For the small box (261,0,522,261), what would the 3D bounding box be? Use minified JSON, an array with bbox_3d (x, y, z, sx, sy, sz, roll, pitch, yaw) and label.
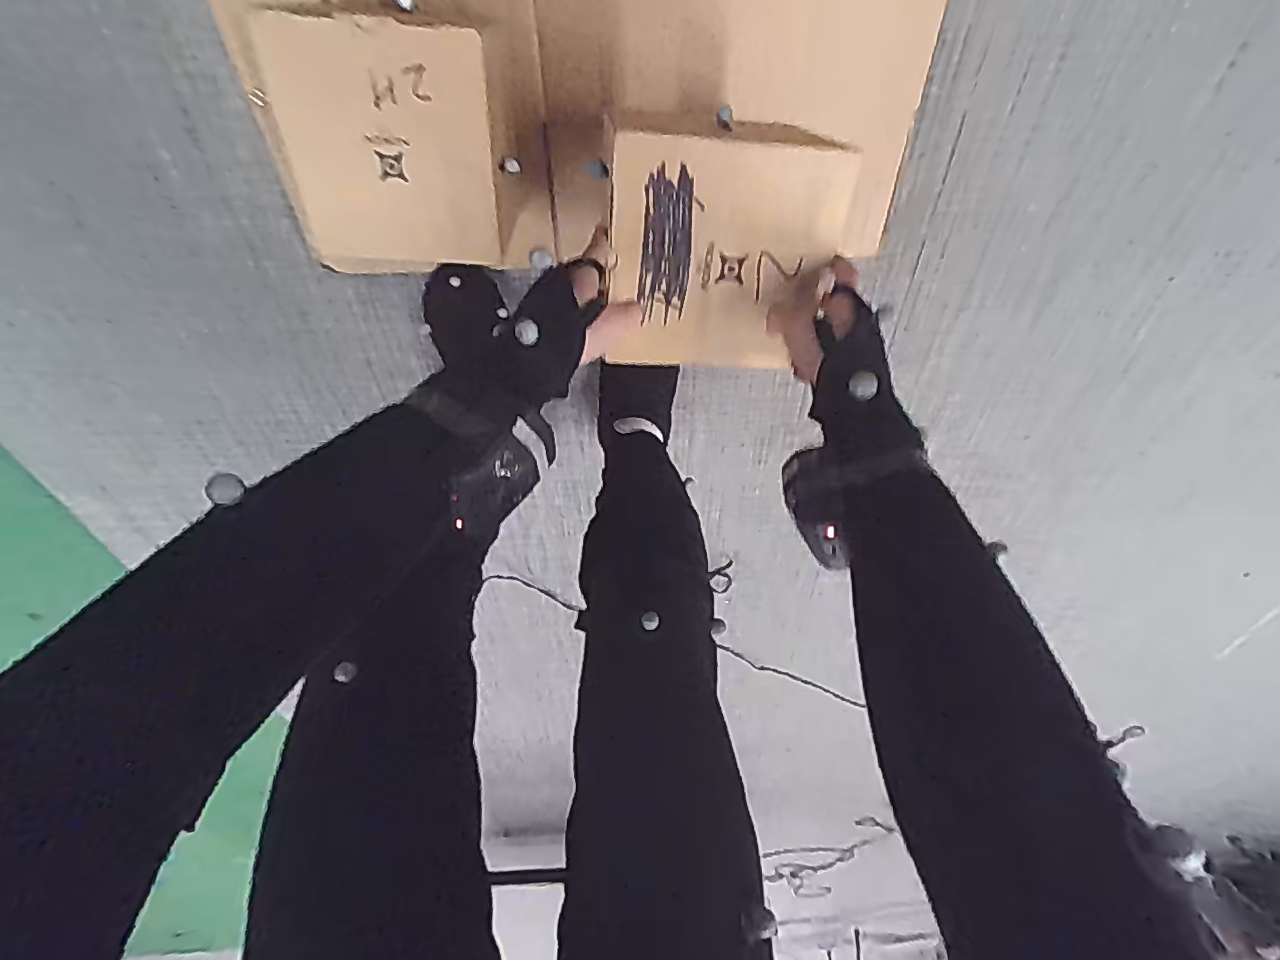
[{"bbox_3d":[-0.205,-0.329,0.511,0.168,0.176,0.179,1,131,-6],"label":"small box"}]
